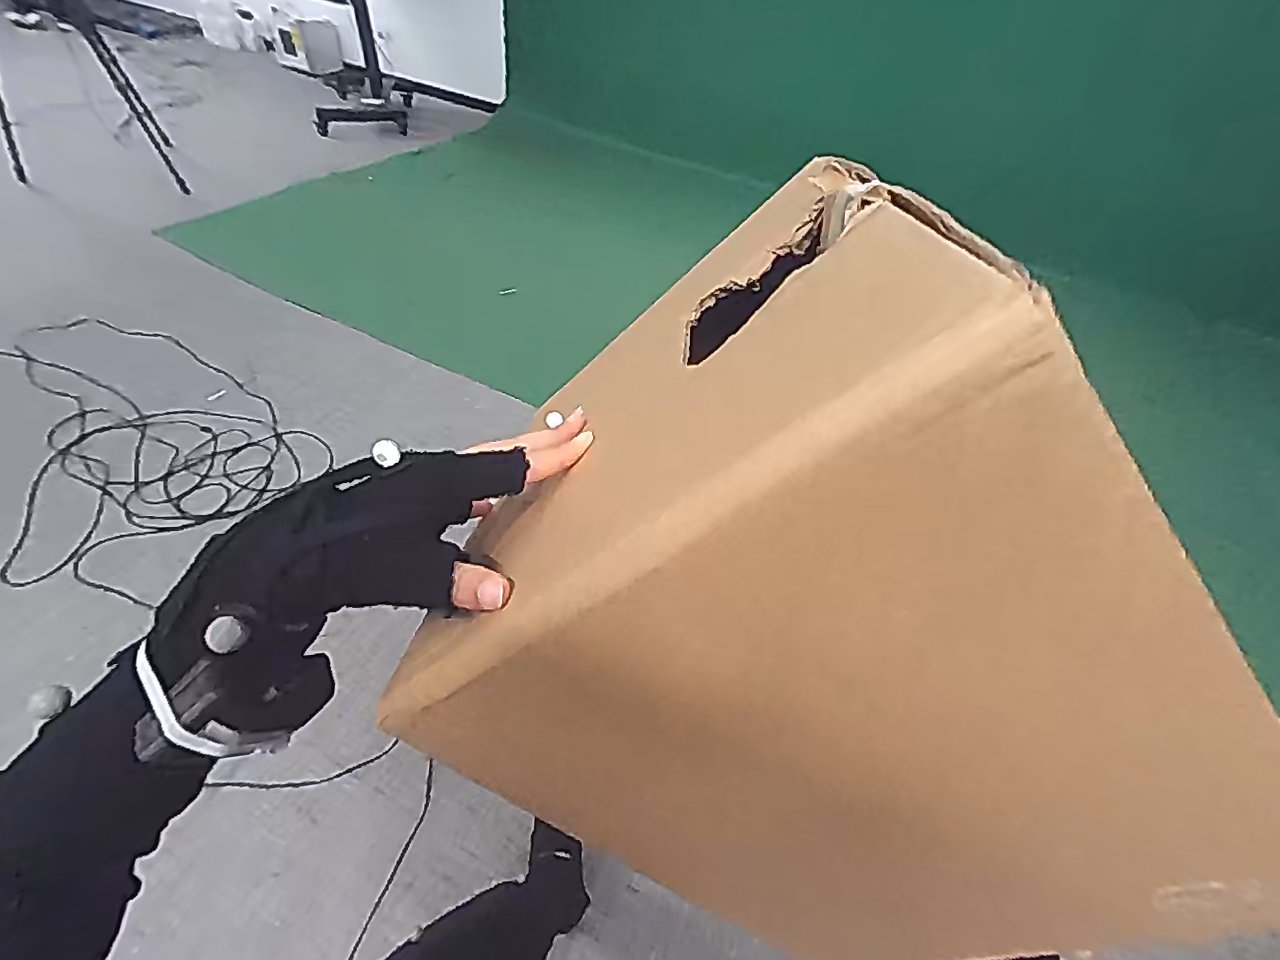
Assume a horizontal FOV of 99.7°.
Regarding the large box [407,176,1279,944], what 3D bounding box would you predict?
[{"bbox_3d":[0.131,0.072,0.398,0.408,0.320,0.320,44,30,-21],"label":"large box"}]
